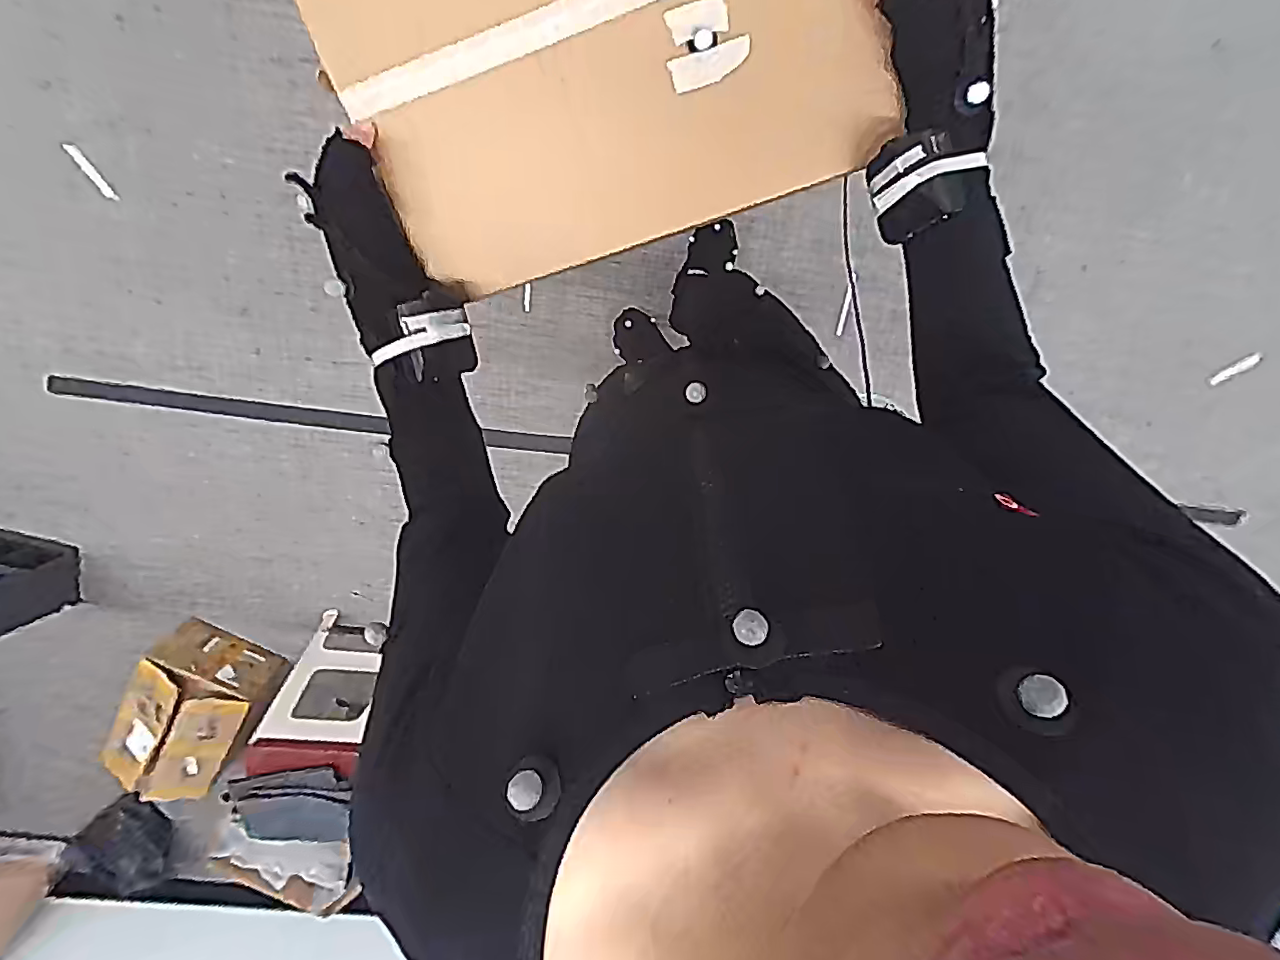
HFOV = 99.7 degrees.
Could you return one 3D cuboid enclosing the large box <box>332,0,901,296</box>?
[{"bbox_3d":[-0.021,-0.408,0.541,0.408,0.320,0.320,-15,113,7],"label":"large box"}]
